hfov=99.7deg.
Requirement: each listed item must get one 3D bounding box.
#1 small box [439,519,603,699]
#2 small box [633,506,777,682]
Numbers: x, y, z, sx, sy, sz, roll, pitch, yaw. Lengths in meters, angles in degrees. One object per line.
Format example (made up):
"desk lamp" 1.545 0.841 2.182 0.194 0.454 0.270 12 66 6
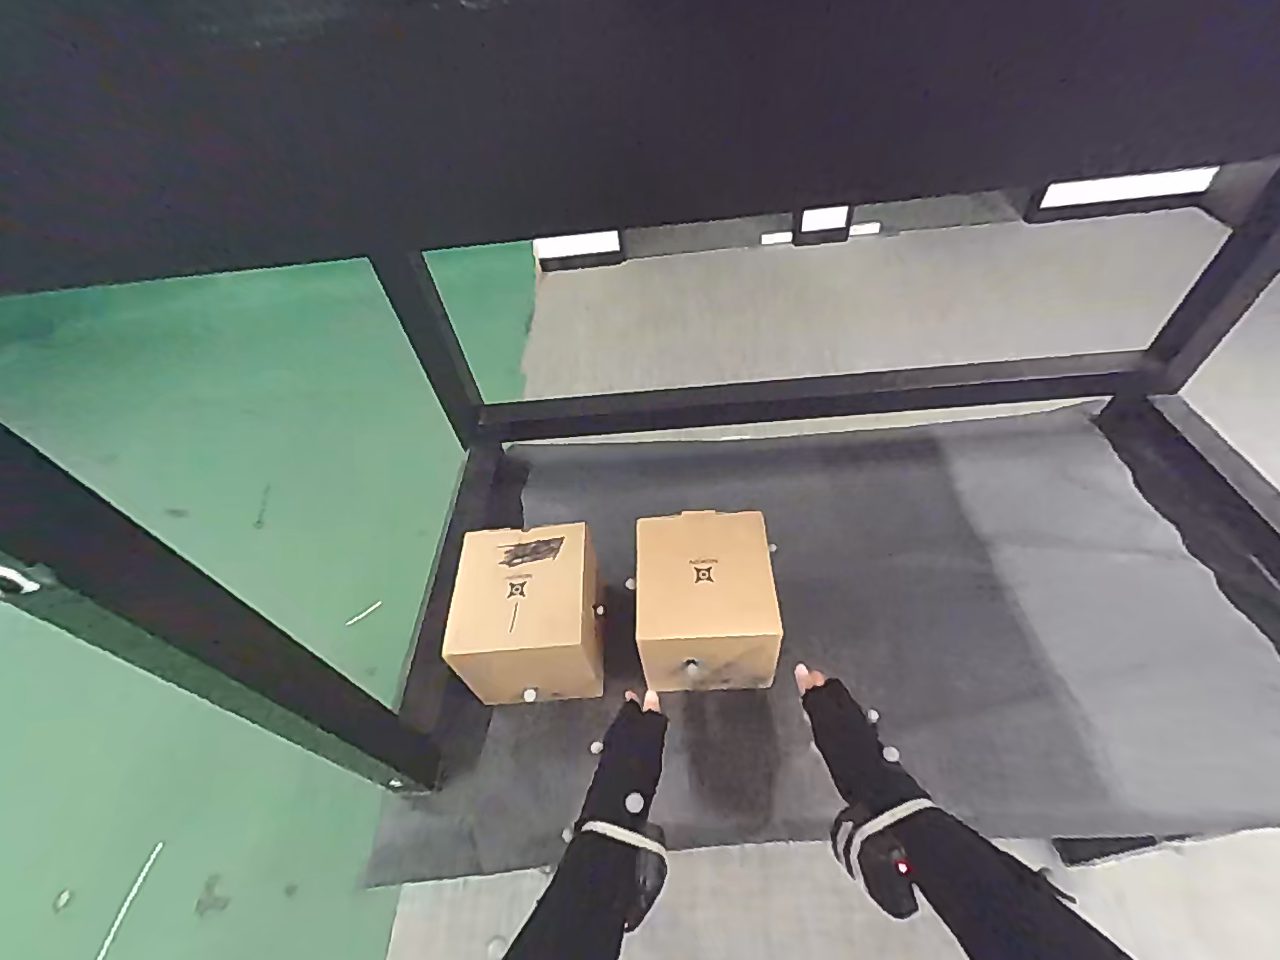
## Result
"small box" -0.144 0.175 0.729 0.168 0.176 0.179 -5 48 4
"small box" 0.083 0.157 0.717 0.168 0.176 0.179 -4 47 5
